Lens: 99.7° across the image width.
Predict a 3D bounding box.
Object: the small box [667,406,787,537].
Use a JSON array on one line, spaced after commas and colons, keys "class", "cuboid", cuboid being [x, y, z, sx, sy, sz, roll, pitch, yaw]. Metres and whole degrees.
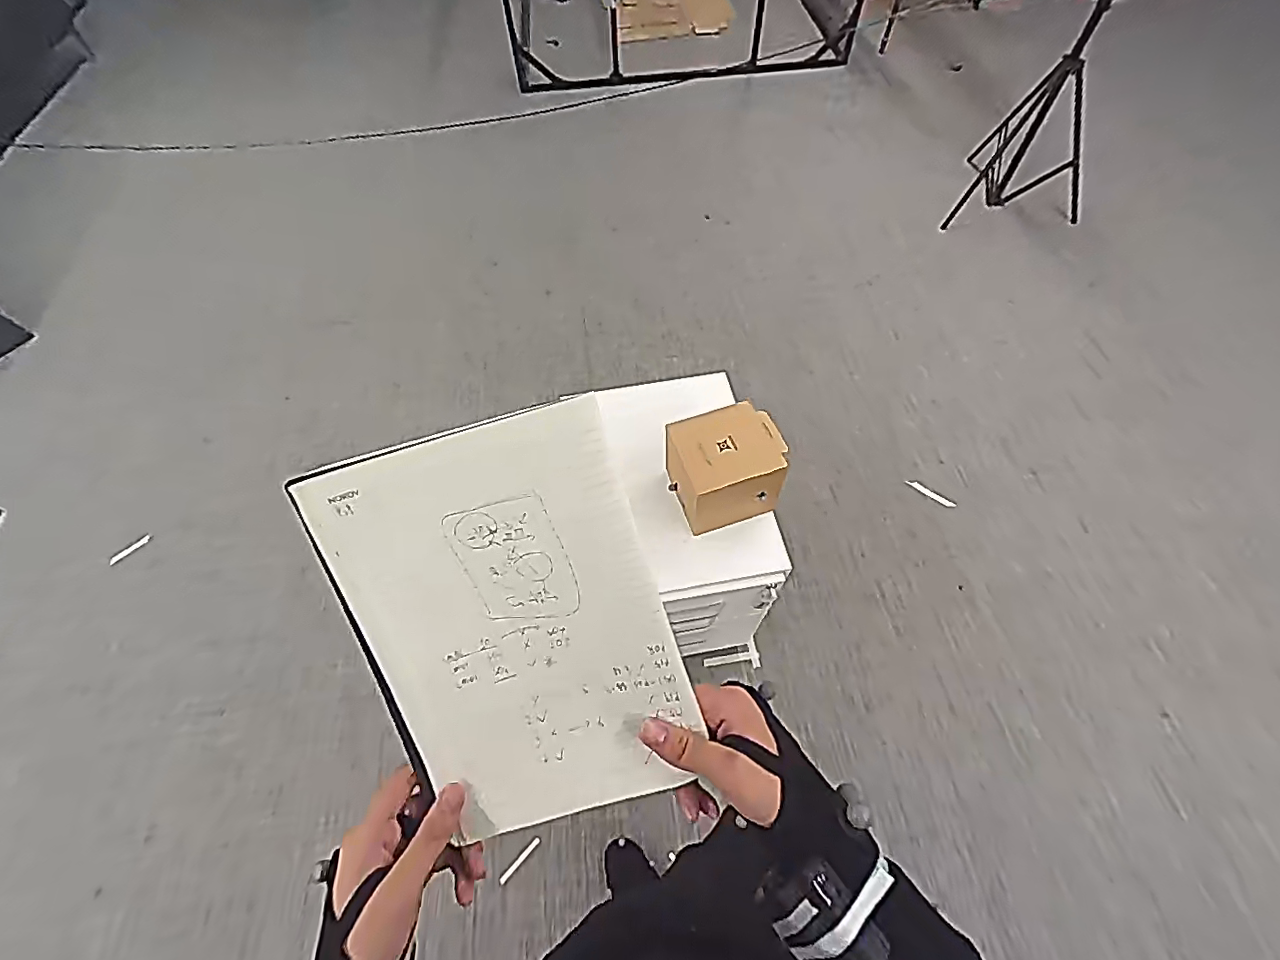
[{"class": "small box", "cuboid": [0.158, -0.013, 1.053, 0.179, 0.176, 0.168, -17, 59, -7]}]
